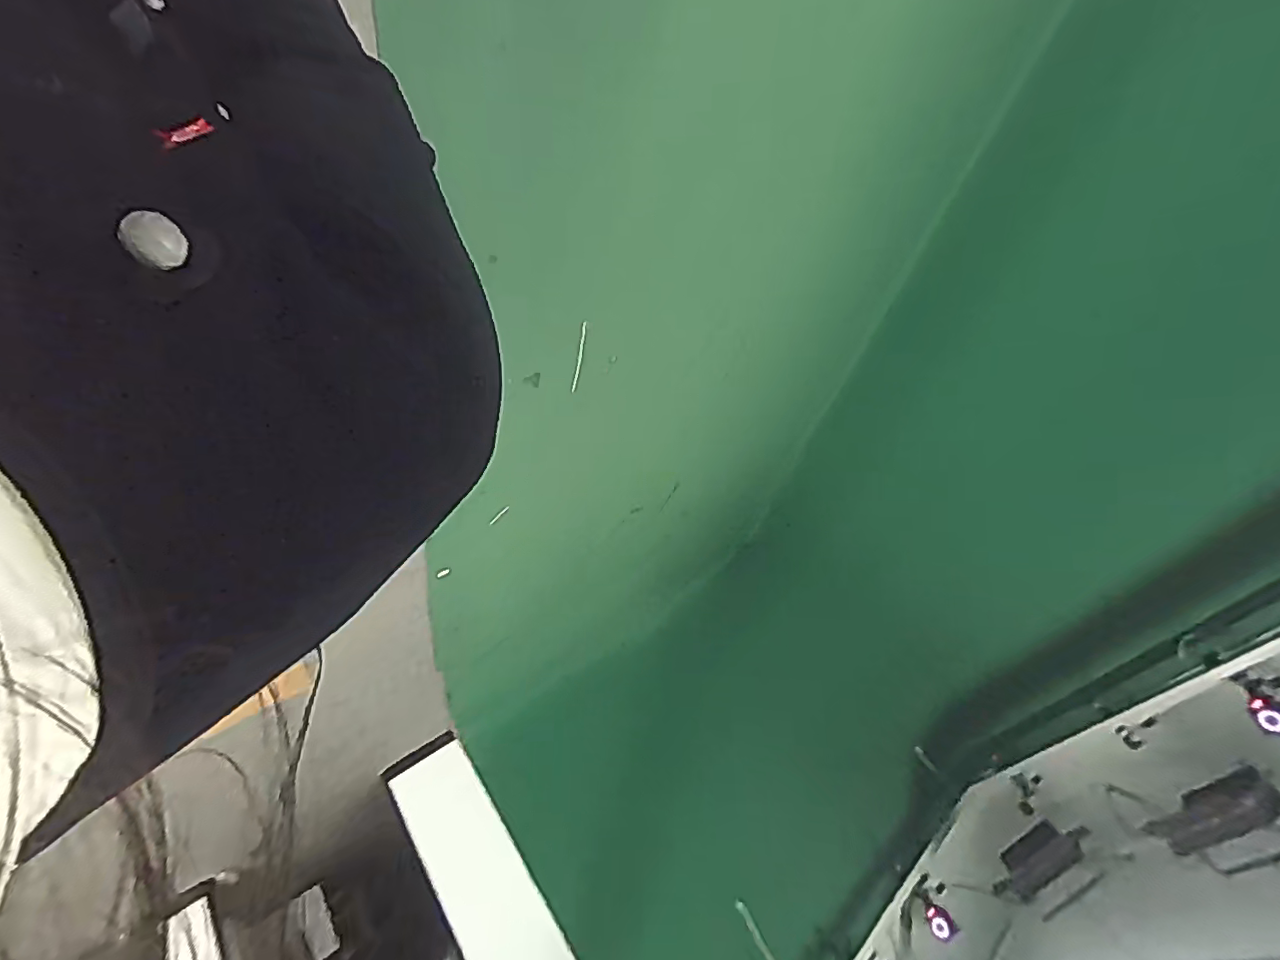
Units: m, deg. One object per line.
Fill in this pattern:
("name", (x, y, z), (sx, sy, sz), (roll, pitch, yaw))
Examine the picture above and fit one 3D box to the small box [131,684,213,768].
("small box", (-1.578, 0.821, 1.825), (0.168, 0.176, 0.179), (-18, 144, -40))
